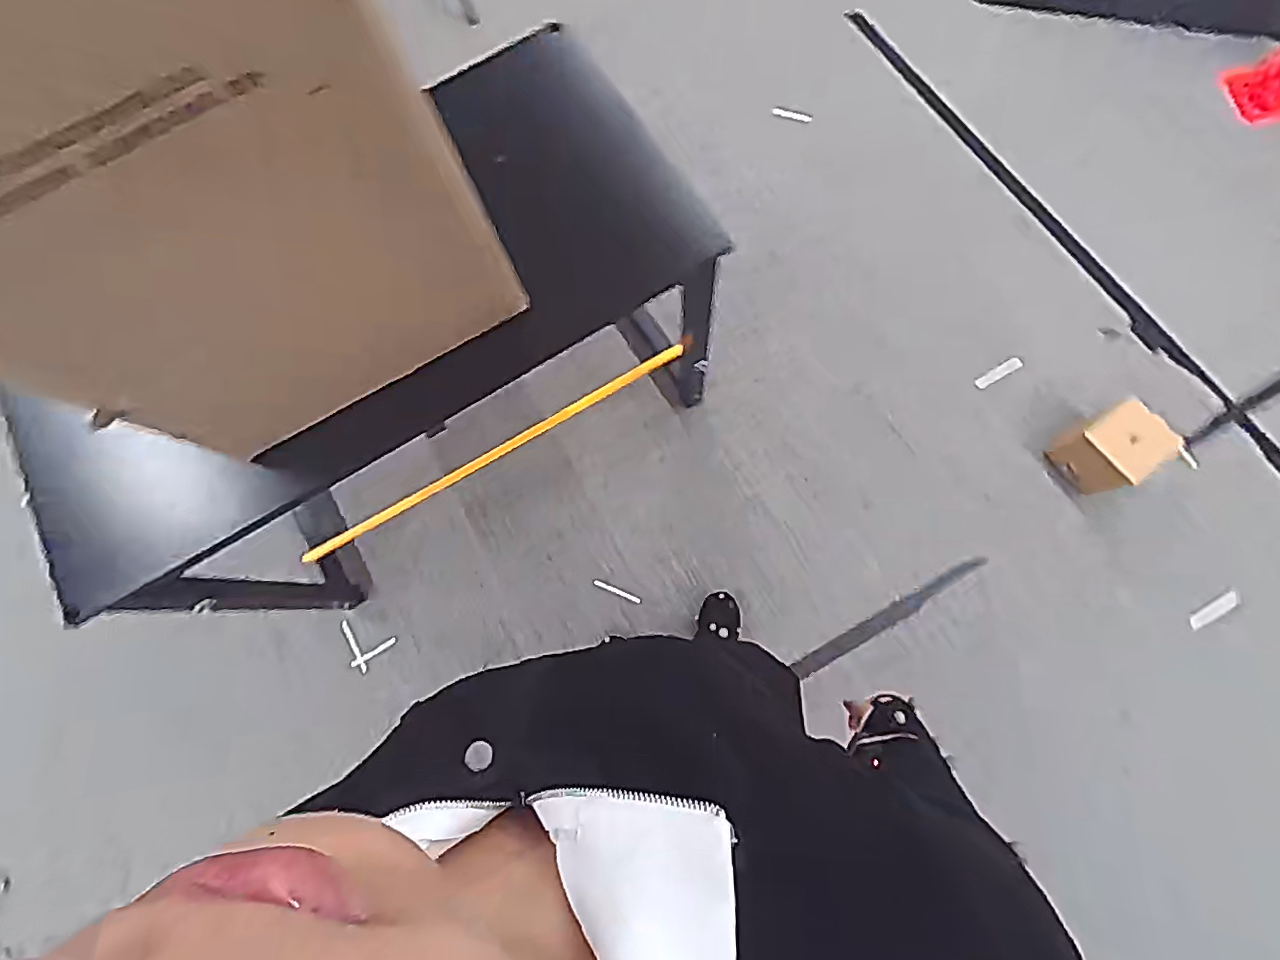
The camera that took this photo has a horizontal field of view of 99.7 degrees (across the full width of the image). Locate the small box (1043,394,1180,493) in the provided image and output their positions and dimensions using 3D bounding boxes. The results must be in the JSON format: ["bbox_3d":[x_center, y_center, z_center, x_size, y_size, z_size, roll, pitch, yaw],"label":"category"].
[{"bbox_3d":[1.226,-0.090,1.422,0.179,0.176,0.168,-37,77,-3],"label":"small box"}]
